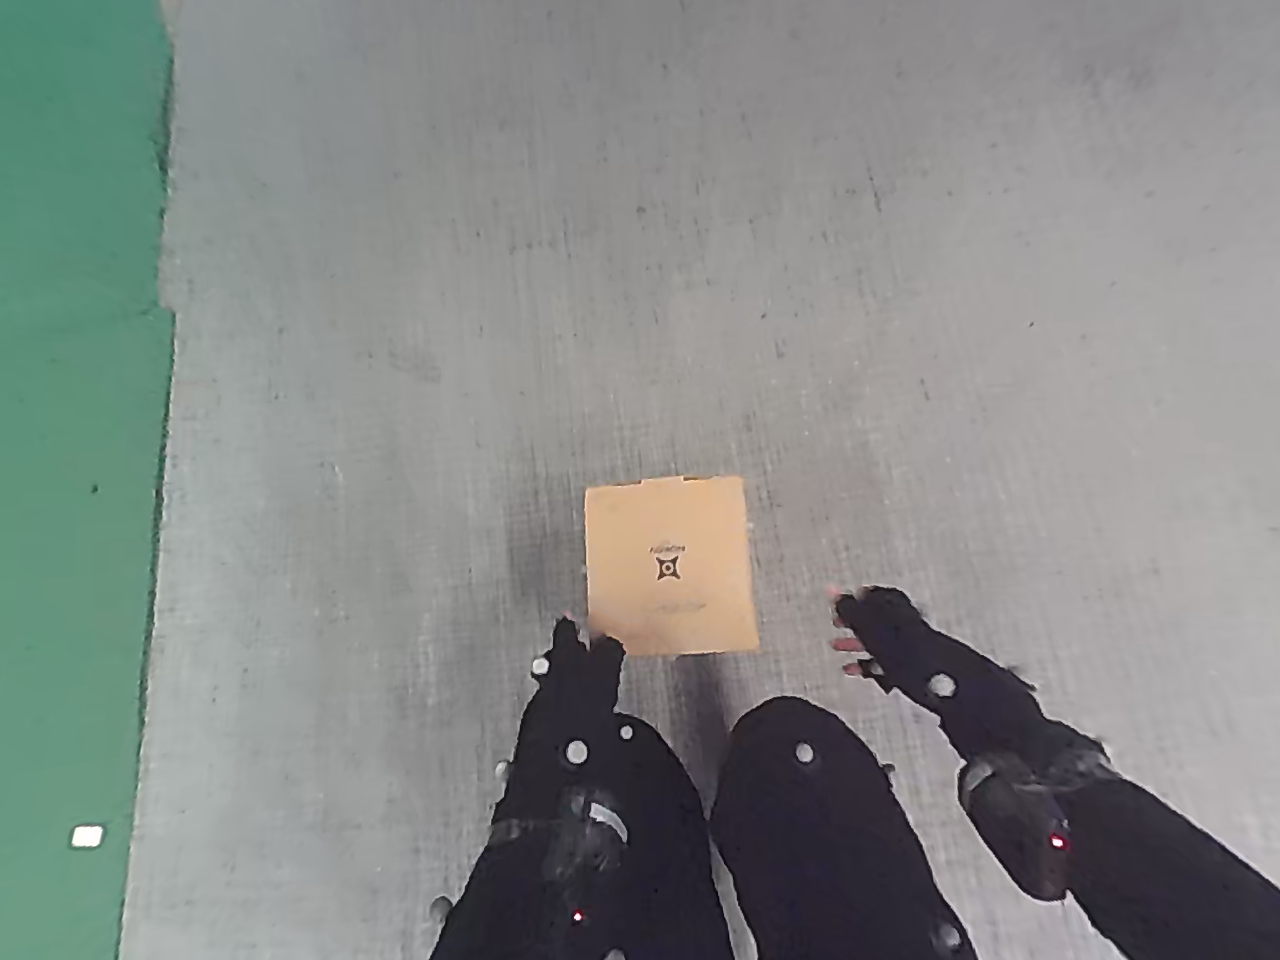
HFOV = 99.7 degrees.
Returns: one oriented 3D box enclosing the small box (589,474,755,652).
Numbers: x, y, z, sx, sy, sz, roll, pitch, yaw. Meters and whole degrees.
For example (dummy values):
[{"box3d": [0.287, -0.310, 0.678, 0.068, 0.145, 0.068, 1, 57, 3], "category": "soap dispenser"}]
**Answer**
[{"box3d": [0.037, 0.102, 0.626, 0.168, 0.176, 0.179, -4, 76, 6], "category": "small box"}]
